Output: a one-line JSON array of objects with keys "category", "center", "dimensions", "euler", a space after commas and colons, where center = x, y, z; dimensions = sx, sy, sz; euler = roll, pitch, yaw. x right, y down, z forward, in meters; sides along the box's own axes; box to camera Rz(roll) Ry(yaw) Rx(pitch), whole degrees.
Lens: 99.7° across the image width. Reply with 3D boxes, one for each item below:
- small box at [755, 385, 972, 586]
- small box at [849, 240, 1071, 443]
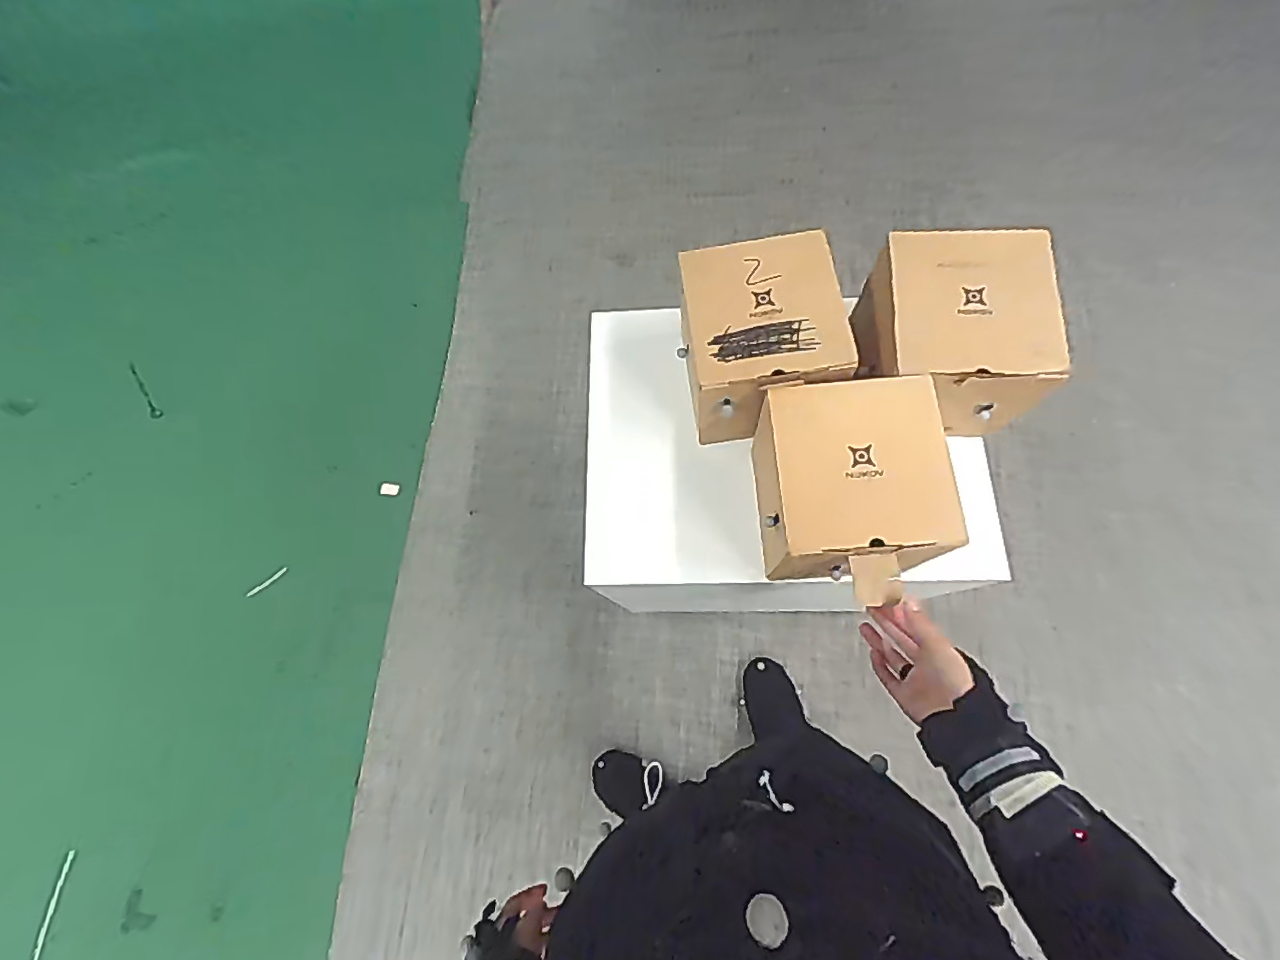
[{"category": "small box", "center": [0.226, 0.015, 0.599], "dimensions": [0.168, 0.176, 0.179], "euler": [-4, 71, 5]}, {"category": "small box", "center": [0.355, -0.152, 0.638], "dimensions": [0.168, 0.176, 0.179], "euler": [2, 72, 6]}]
